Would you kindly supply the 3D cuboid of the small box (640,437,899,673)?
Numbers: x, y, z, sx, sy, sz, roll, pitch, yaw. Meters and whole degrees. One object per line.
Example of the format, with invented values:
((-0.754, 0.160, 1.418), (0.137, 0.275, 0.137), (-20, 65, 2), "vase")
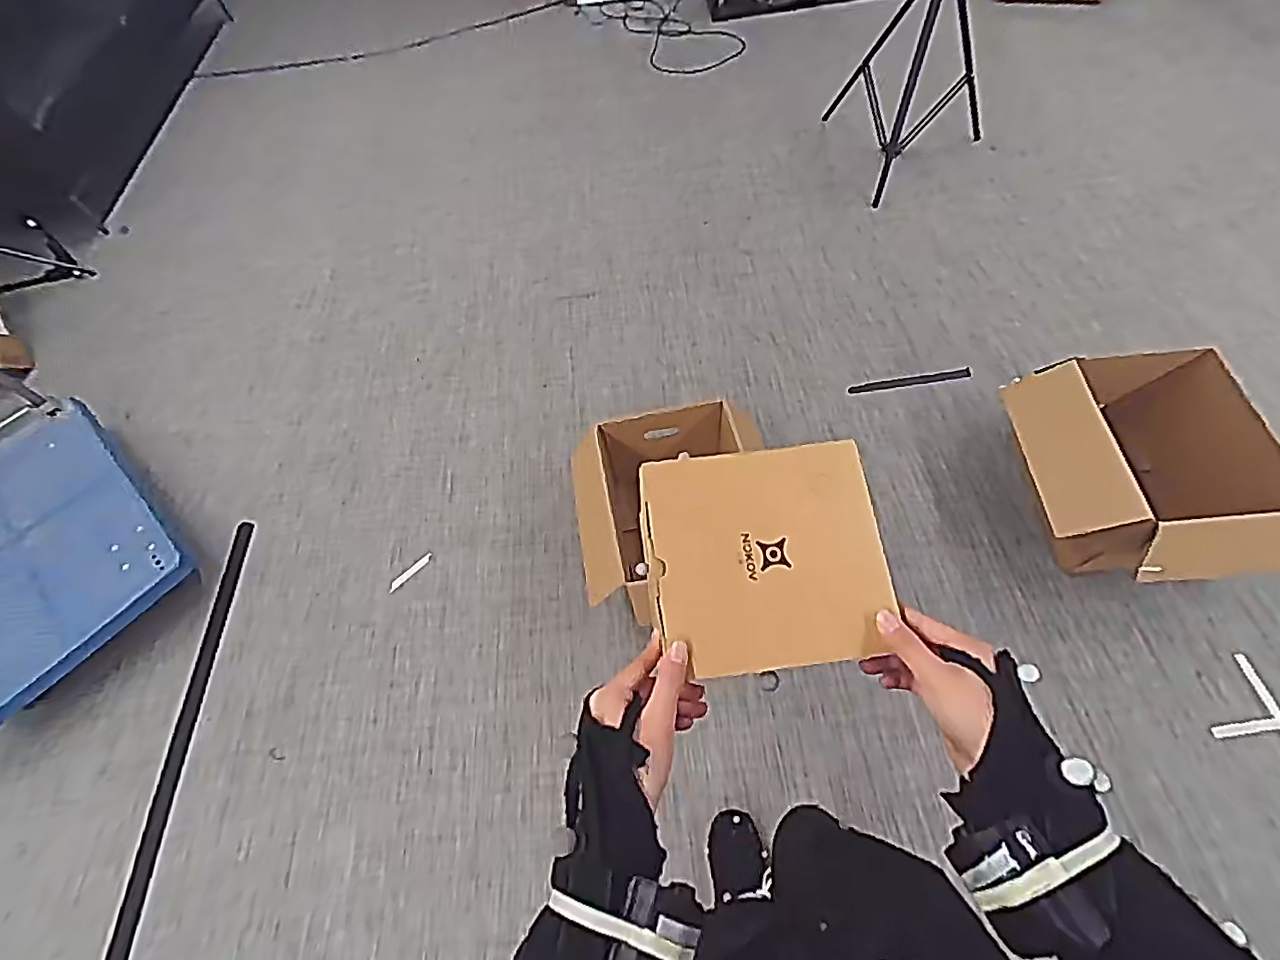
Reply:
((0.095, 0.074, 0.487), (0.179, 0.176, 0.168), (-7, 74, 0), "small box")
